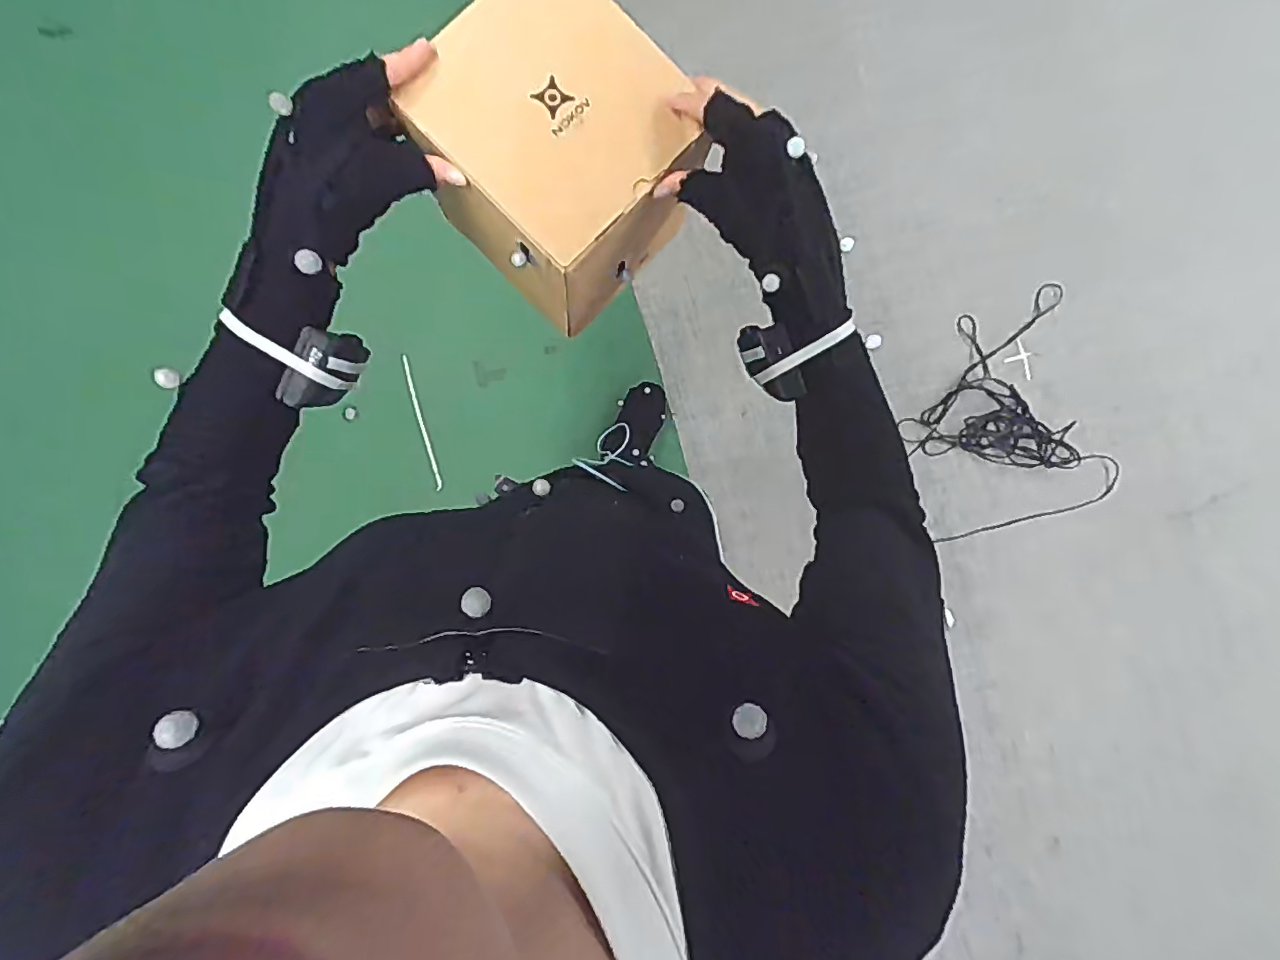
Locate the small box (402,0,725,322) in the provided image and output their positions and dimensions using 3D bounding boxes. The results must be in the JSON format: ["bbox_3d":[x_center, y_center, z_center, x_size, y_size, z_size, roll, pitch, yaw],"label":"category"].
[{"bbox_3d":[-0.061,-0.269,0.469,0.179,0.176,0.168,44,84,-4],"label":"small box"}]
